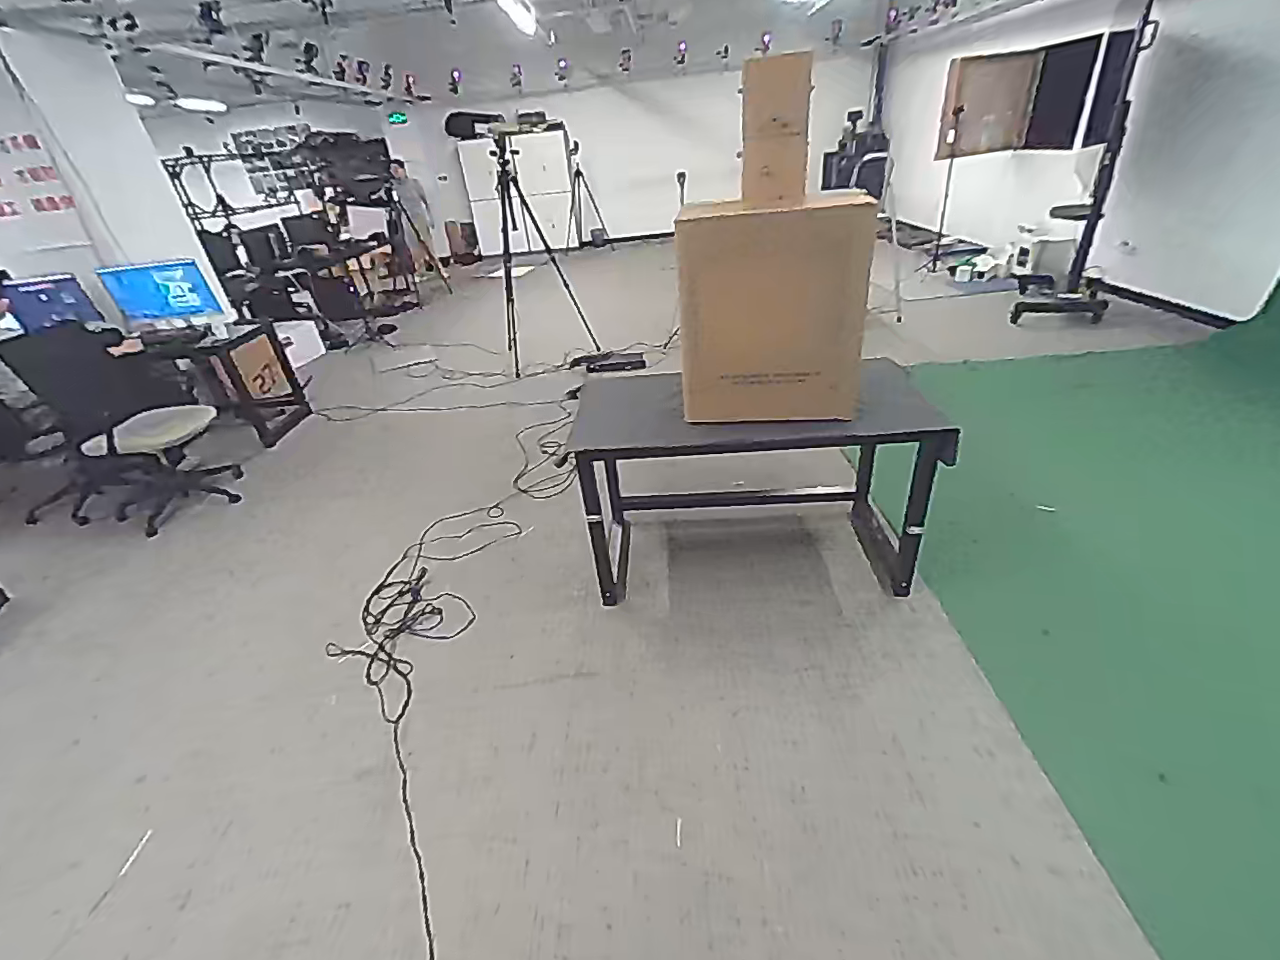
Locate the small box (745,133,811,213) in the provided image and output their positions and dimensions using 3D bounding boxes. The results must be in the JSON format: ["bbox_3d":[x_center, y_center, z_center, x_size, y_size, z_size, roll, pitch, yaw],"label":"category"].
[{"bbox_3d":[0.373,-0.833,1.474,0.168,0.176,0.179,1,34,11],"label":"small box"}]
